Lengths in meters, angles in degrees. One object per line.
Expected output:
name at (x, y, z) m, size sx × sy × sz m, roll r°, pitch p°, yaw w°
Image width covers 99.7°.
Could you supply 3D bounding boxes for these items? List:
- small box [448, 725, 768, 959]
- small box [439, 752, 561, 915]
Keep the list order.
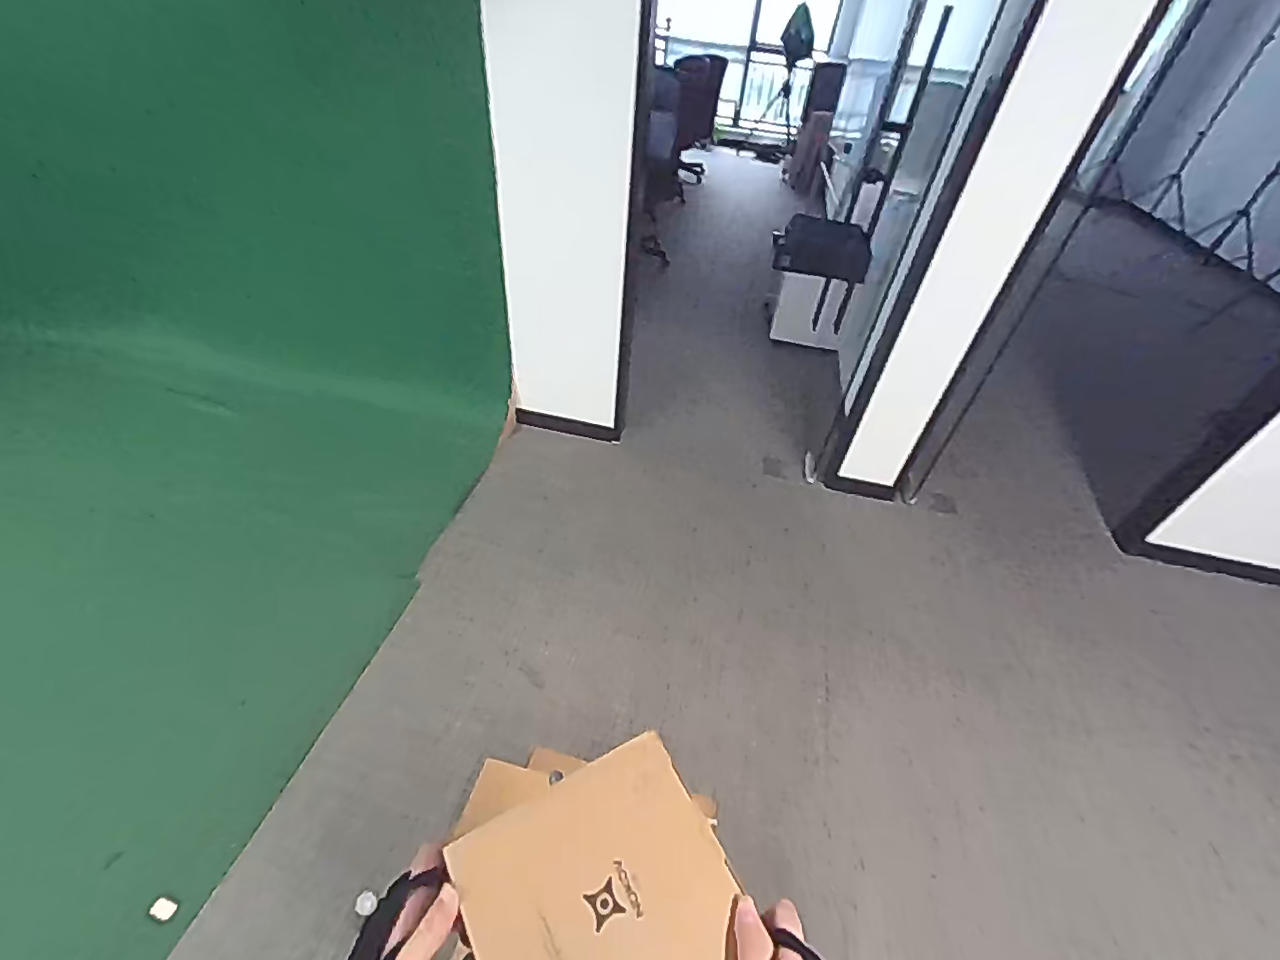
small box at (-0.037, 0.332, 0.430) m, size 0.179 × 0.176 × 0.168 m, roll -18°, pitch 56°, yaw -25°
small box at (-0.176, 0.553, 0.816) m, size 0.168 × 0.176 × 0.179 m, roll 13°, pitch 42°, yaw 8°
